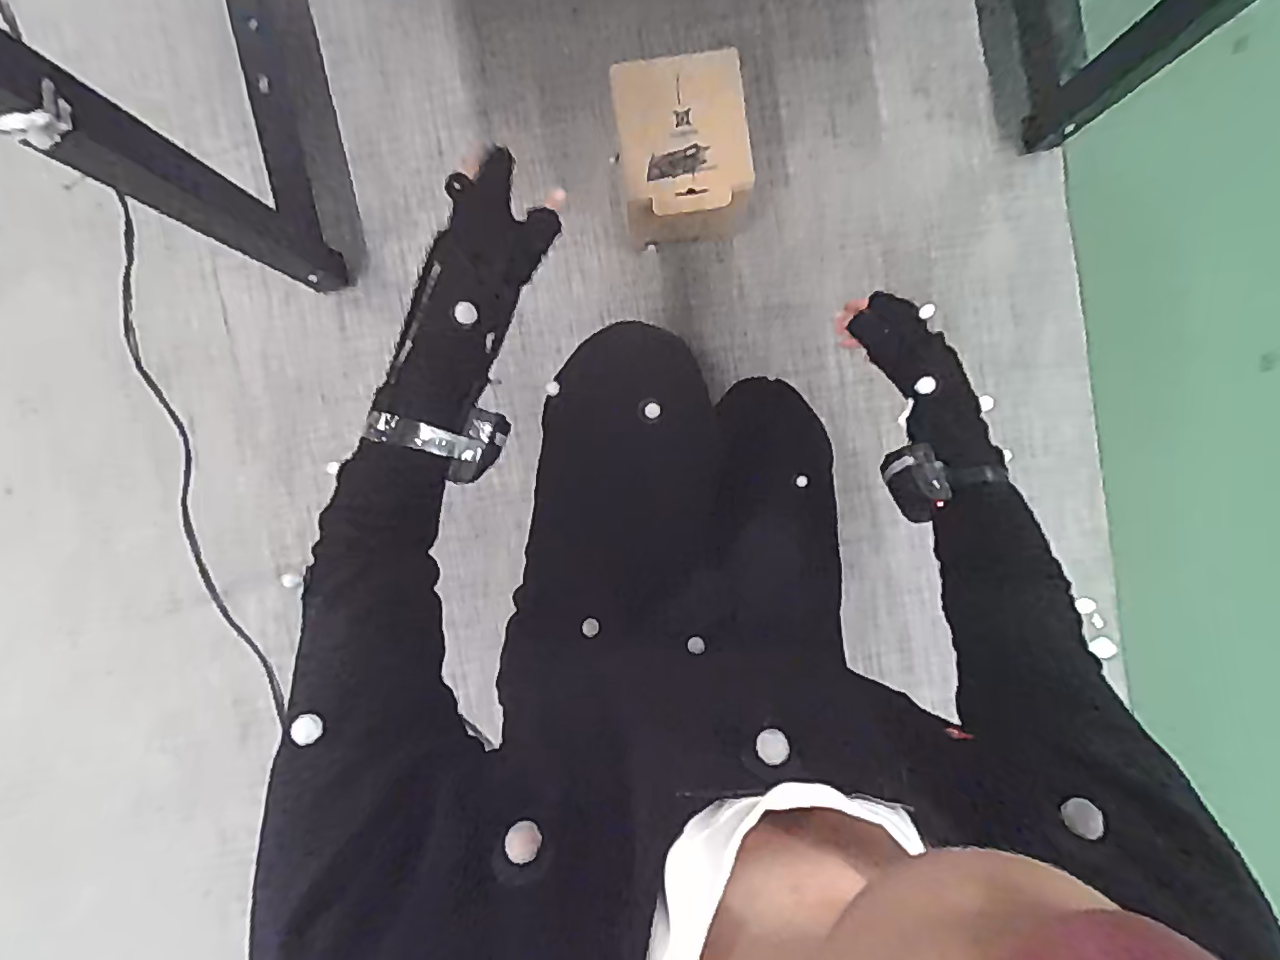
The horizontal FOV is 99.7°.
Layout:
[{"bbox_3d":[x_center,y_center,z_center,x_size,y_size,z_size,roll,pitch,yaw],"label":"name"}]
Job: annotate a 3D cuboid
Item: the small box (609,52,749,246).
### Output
[{"bbox_3d":[0.052,-0.451,0.770,0.168,0.176,0.179,-7,92,0],"label":"small box"}]
